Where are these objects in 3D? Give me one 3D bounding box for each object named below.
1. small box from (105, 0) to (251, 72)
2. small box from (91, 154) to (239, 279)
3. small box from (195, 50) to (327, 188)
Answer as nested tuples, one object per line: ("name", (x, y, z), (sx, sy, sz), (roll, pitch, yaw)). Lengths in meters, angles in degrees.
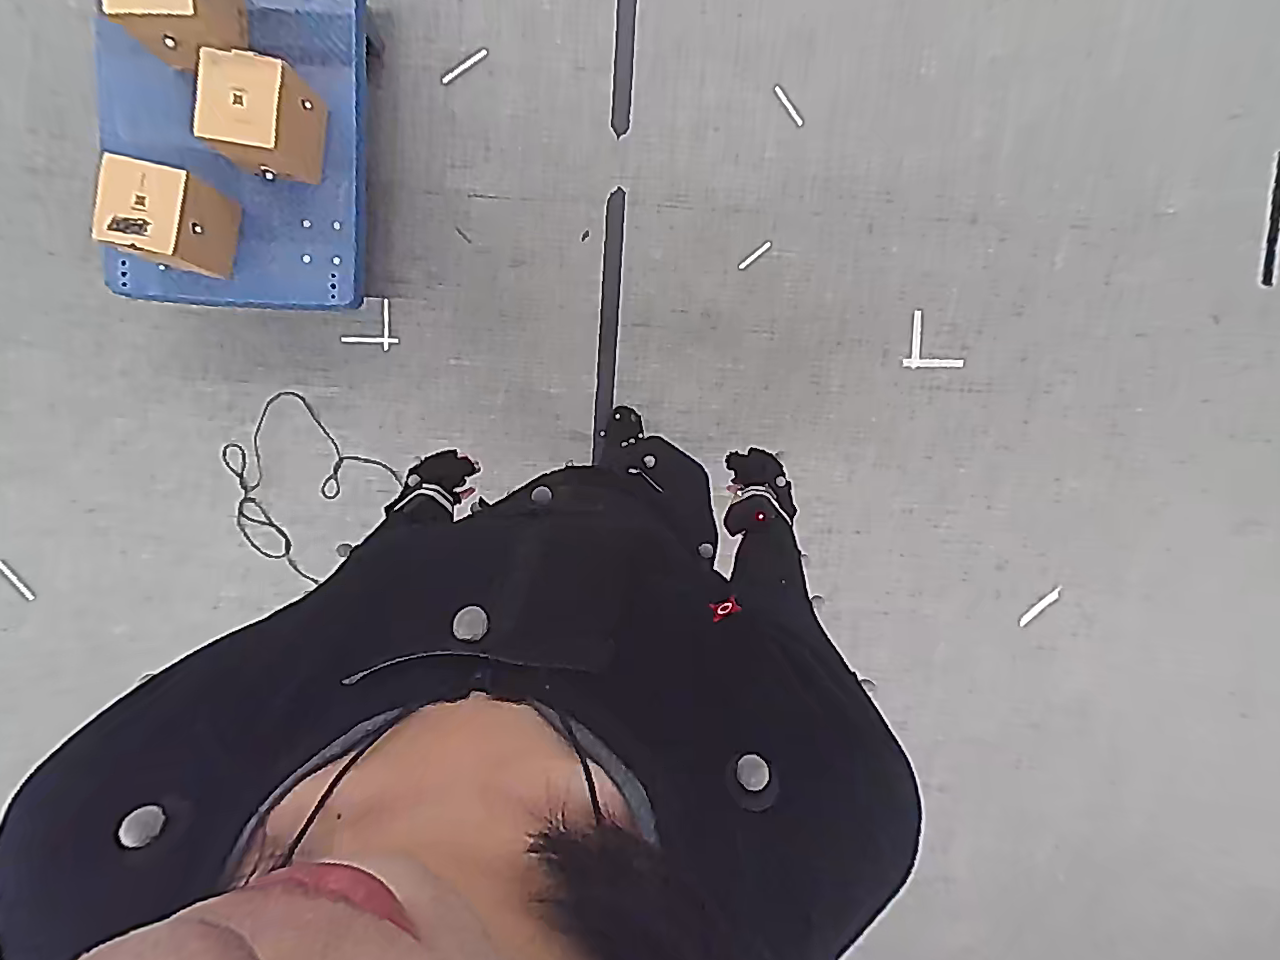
("small box", (-0.970, -1.000, 1.143), (0.179, 0.176, 0.168), (-1, 95, -1))
("small box", (-1.018, -0.558, 1.173), (0.168, 0.176, 0.179), (13, 93, -3))
("small box", (-0.806, -0.768, 1.167), (0.168, 0.176, 0.179), (9, 95, -1))
